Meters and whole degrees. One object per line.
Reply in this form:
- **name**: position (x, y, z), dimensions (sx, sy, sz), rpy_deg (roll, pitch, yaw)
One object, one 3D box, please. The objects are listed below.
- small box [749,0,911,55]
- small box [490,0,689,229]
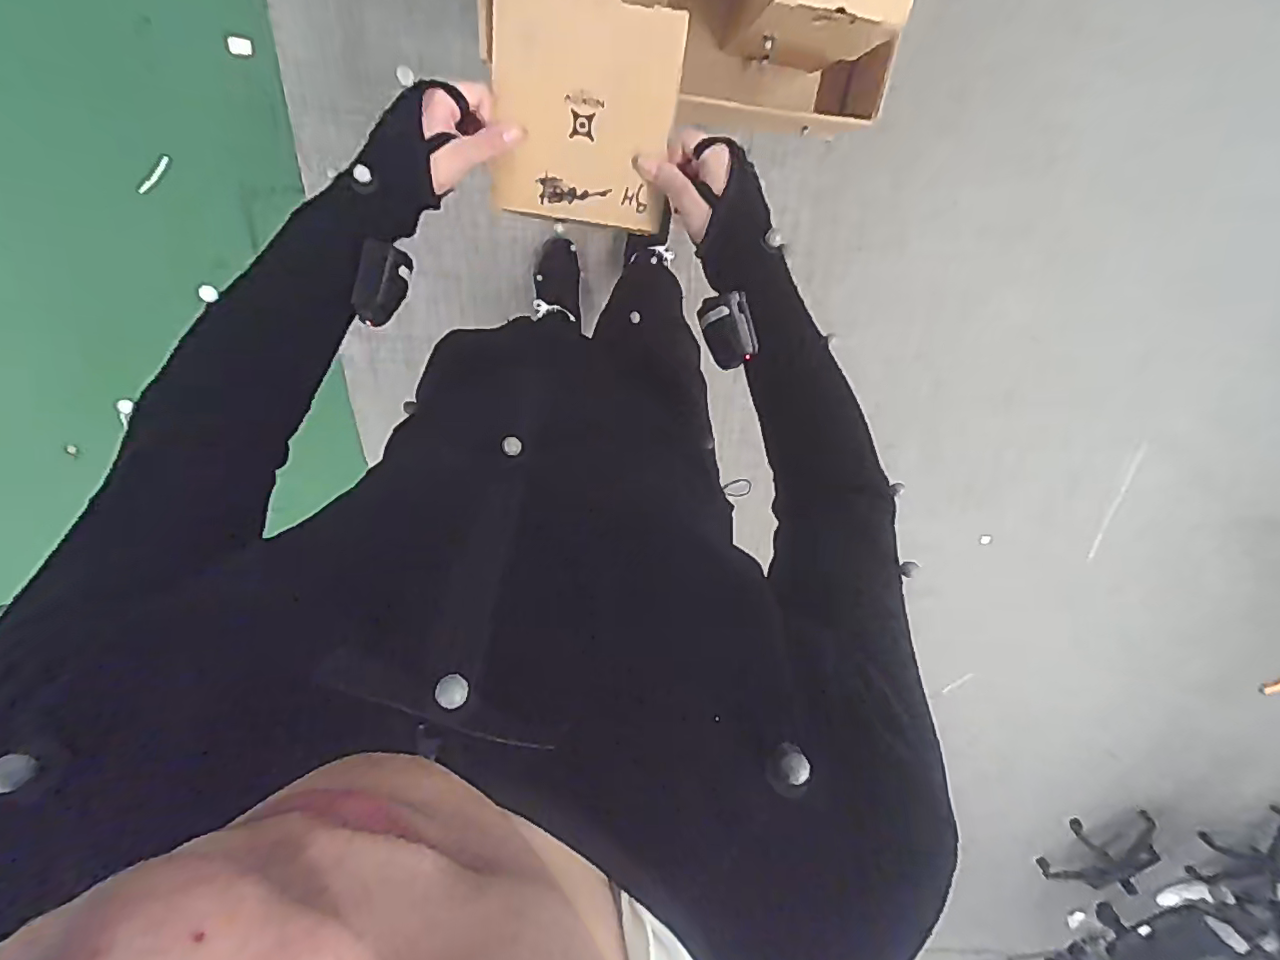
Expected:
- **small box**: position (0.242, -0.655, 0.662), dimensions (0.168, 0.176, 0.179), rpy_deg (7, 117, -6)
- **small box**: position (-0.055, -0.367, 0.557), dimensions (0.168, 0.176, 0.179), rpy_deg (6, 113, -6)
